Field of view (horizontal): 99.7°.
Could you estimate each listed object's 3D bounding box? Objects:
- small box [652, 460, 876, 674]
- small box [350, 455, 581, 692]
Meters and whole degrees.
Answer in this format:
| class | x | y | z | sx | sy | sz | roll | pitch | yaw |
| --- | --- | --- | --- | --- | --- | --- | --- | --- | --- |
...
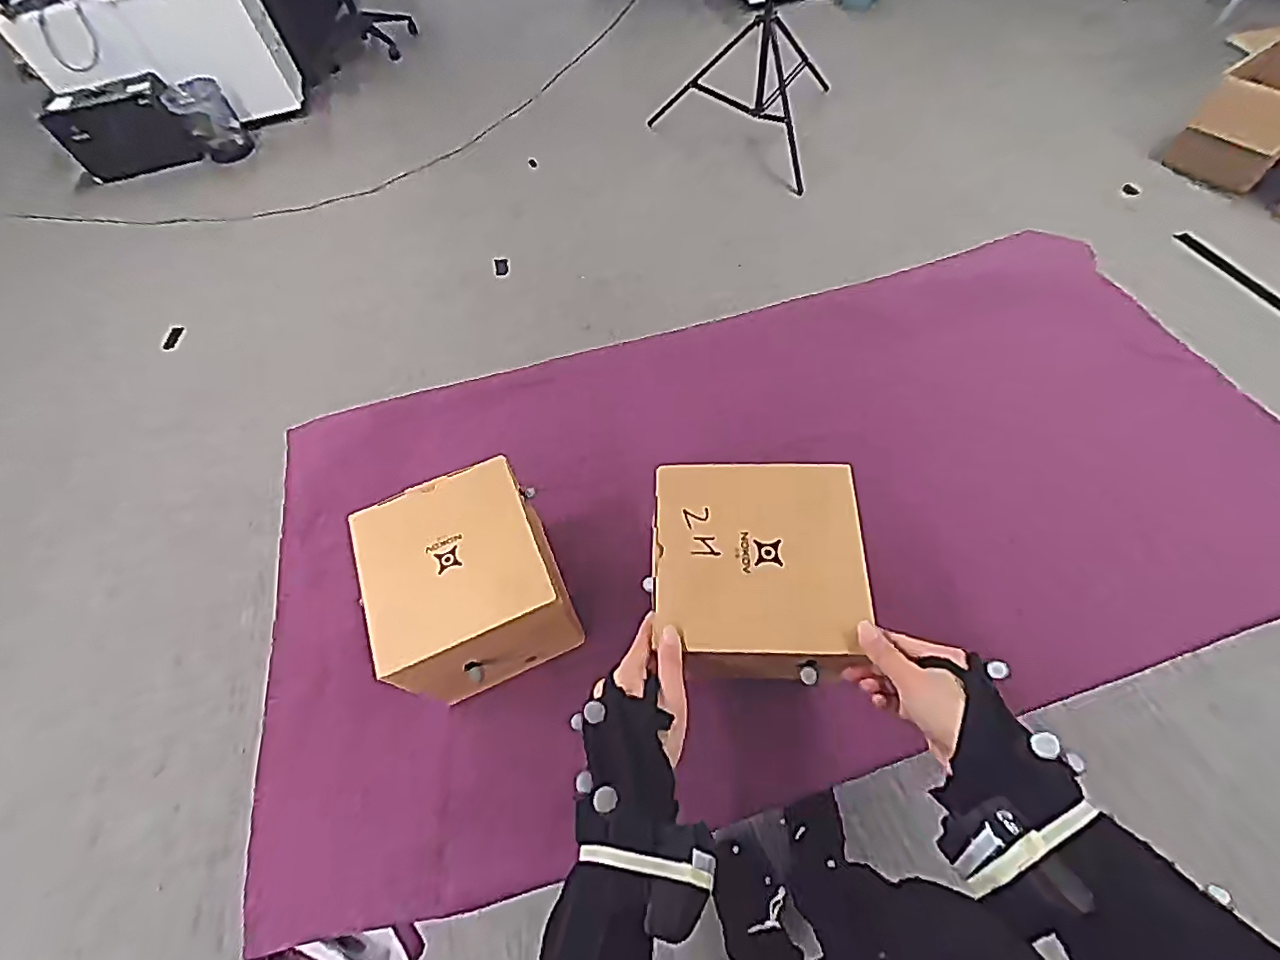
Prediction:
| class | x | y | z | sx | sy | sz | roll | pitch | yaw |
| --- | --- | --- | --- | --- | --- | --- | --- | --- | --- |
| small box | 0.104 | 0.092 | 0.527 | 0.179 | 0.176 | 0.168 | 0 | 63 | 5 |
| small box | -0.177 | 0.111 | 0.583 | 0.168 | 0.176 | 0.179 | -24 | 60 | -9 |
